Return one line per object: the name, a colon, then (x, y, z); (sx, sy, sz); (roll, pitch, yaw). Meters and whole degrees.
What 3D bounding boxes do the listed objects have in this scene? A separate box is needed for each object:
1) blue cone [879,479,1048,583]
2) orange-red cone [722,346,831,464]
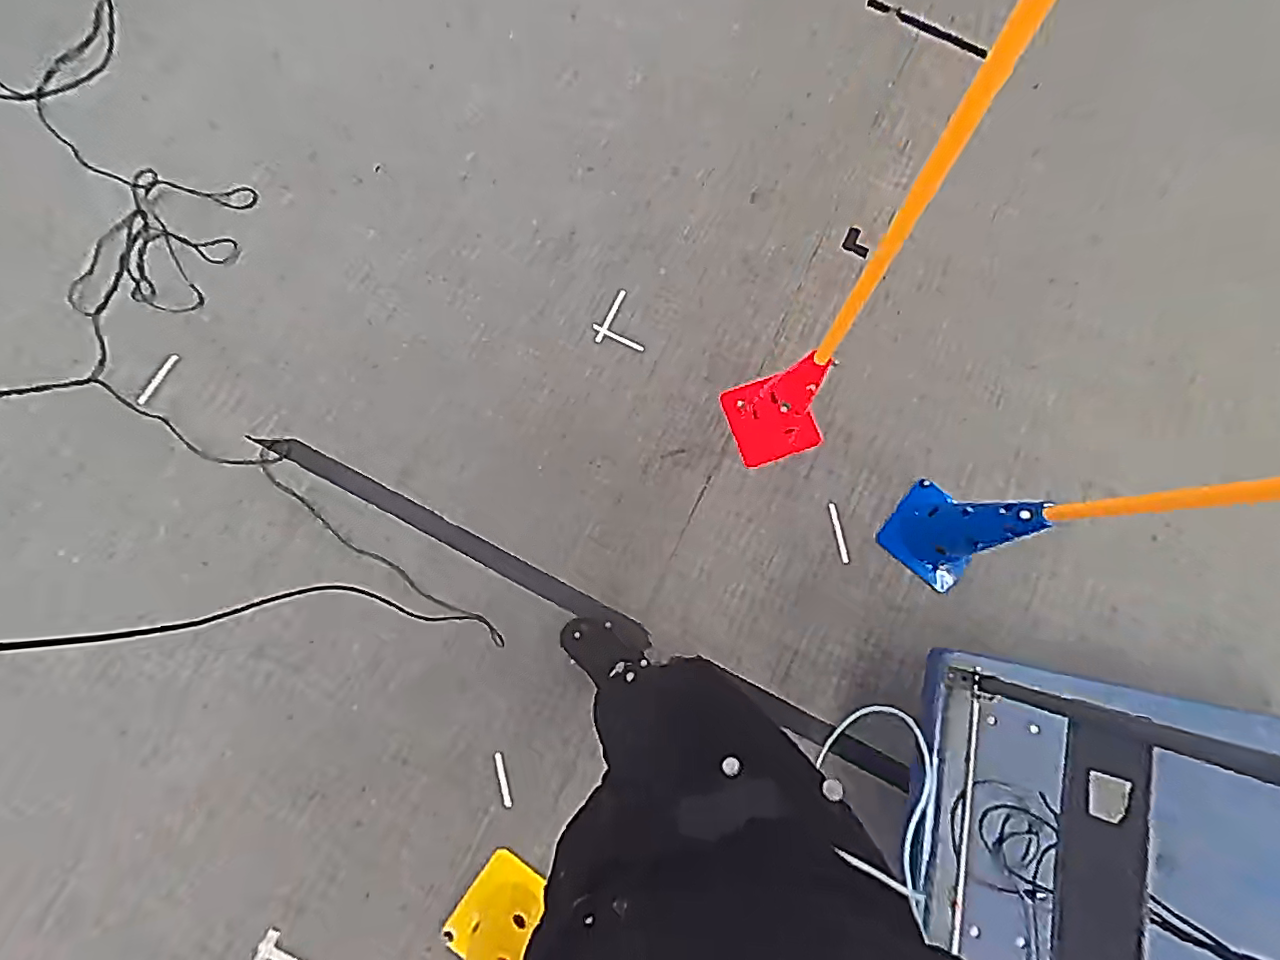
blue cone: (0.666, 0.083, 1.074); (0.192, 0.380, 0.193); (41, 81, 8)
orange-red cone: (0.312, -0.182, 1.107); (0.198, 0.360, 0.199); (-18, 81, -4)
